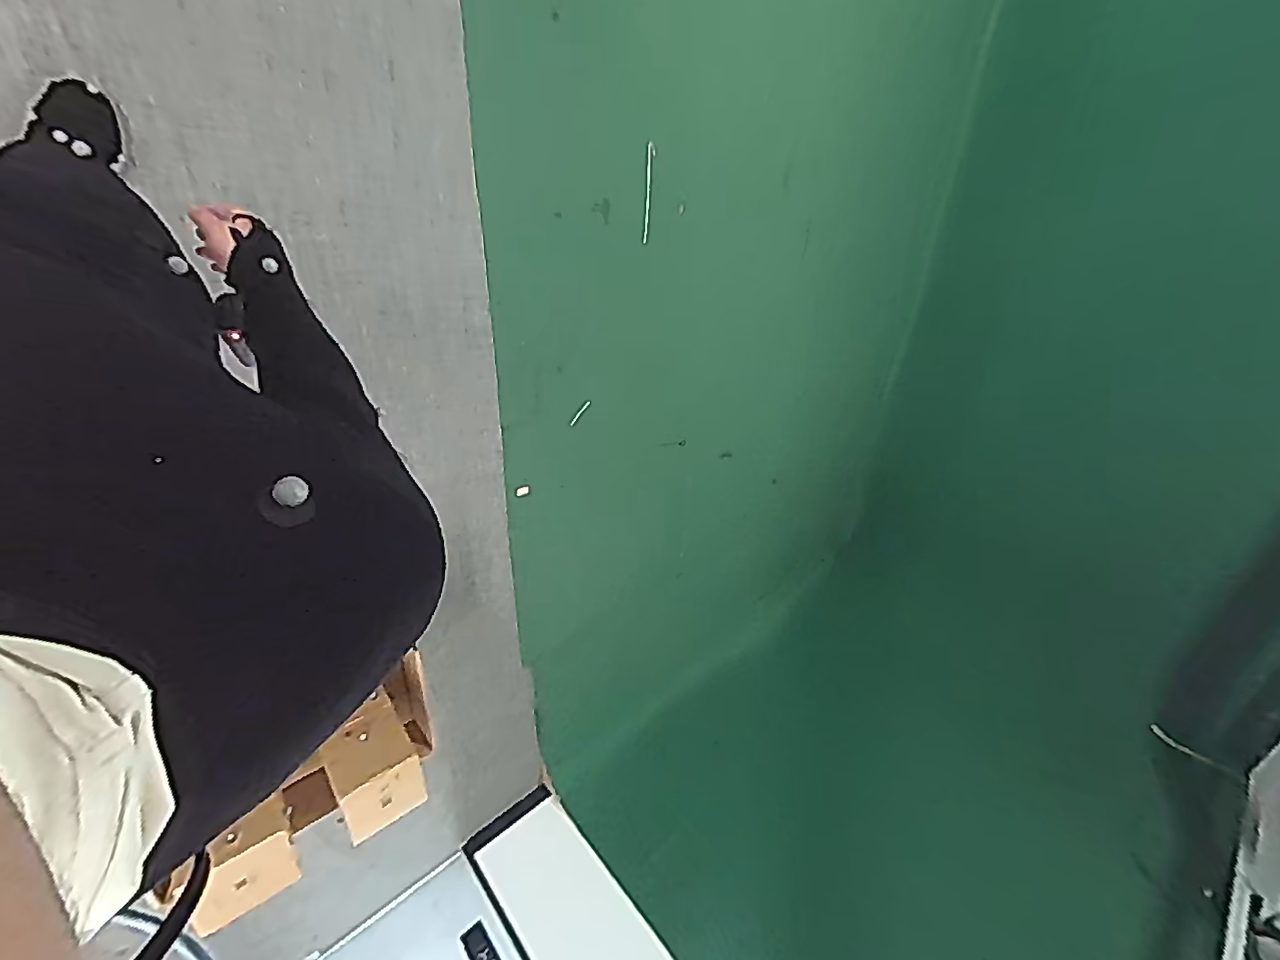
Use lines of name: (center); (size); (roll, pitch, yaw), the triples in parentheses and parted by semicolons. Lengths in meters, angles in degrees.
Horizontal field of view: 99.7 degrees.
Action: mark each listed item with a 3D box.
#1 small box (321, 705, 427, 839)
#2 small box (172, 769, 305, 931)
small box: (-0.616, 0.668, 1.256); (0.168, 0.176, 0.179); (-20, 127, -37)
small box: (-0.815, 0.738, 1.100); (0.179, 0.176, 0.168); (-18, 124, -37)
